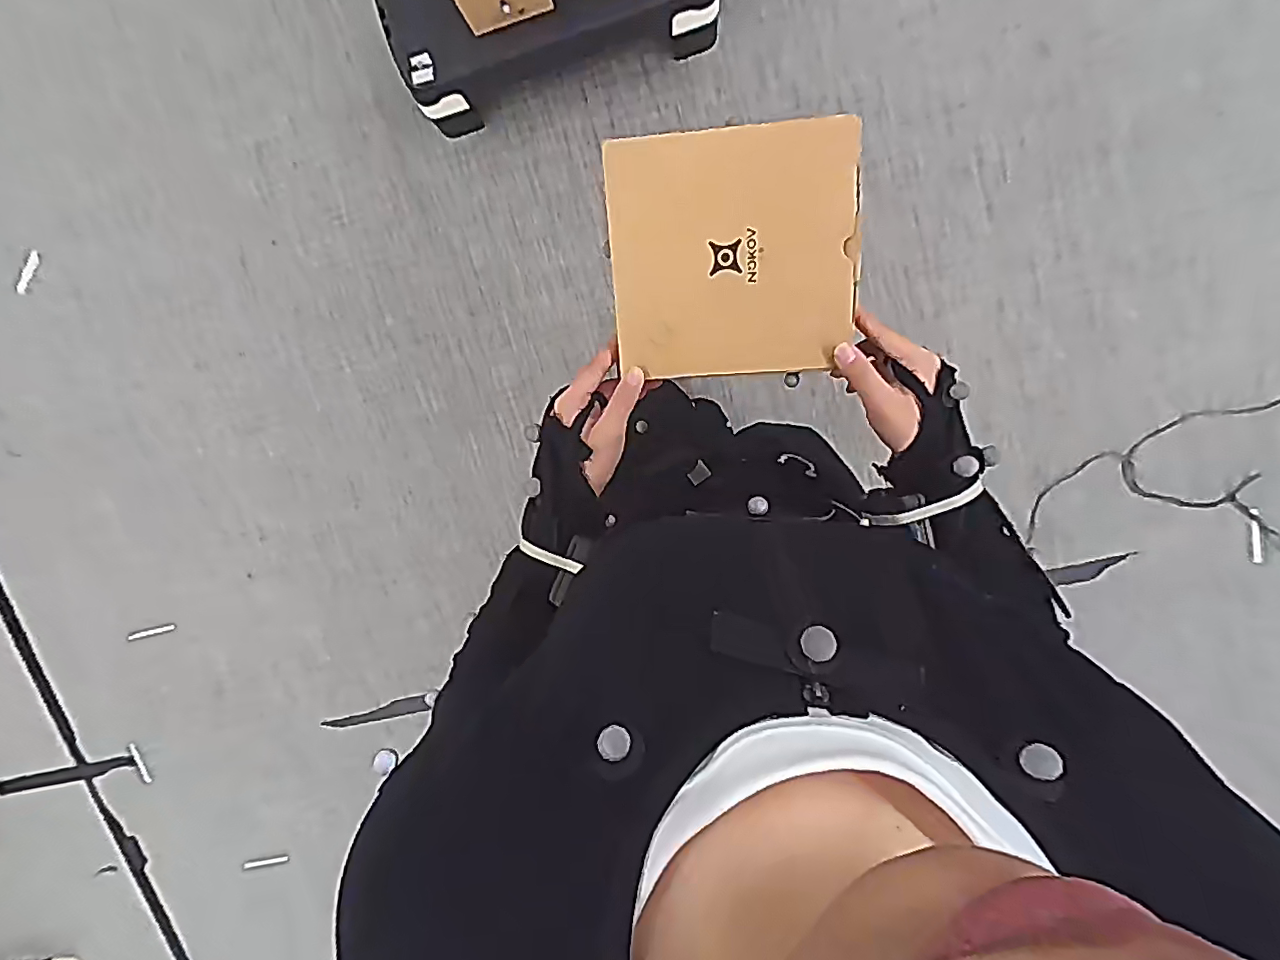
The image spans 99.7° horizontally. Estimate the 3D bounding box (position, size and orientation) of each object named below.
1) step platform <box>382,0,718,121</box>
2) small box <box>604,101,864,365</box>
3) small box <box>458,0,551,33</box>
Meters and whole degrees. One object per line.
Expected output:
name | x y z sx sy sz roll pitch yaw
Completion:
step platform | -0.182 -1.025 1.115 0.684 0.204 0.286 -15 98 8
small box | 0.072 -0.188 0.459 0.179 0.176 0.168 -3 106 5
small box | -0.270 -0.957 0.958 0.168 0.176 0.179 -13 99 7
